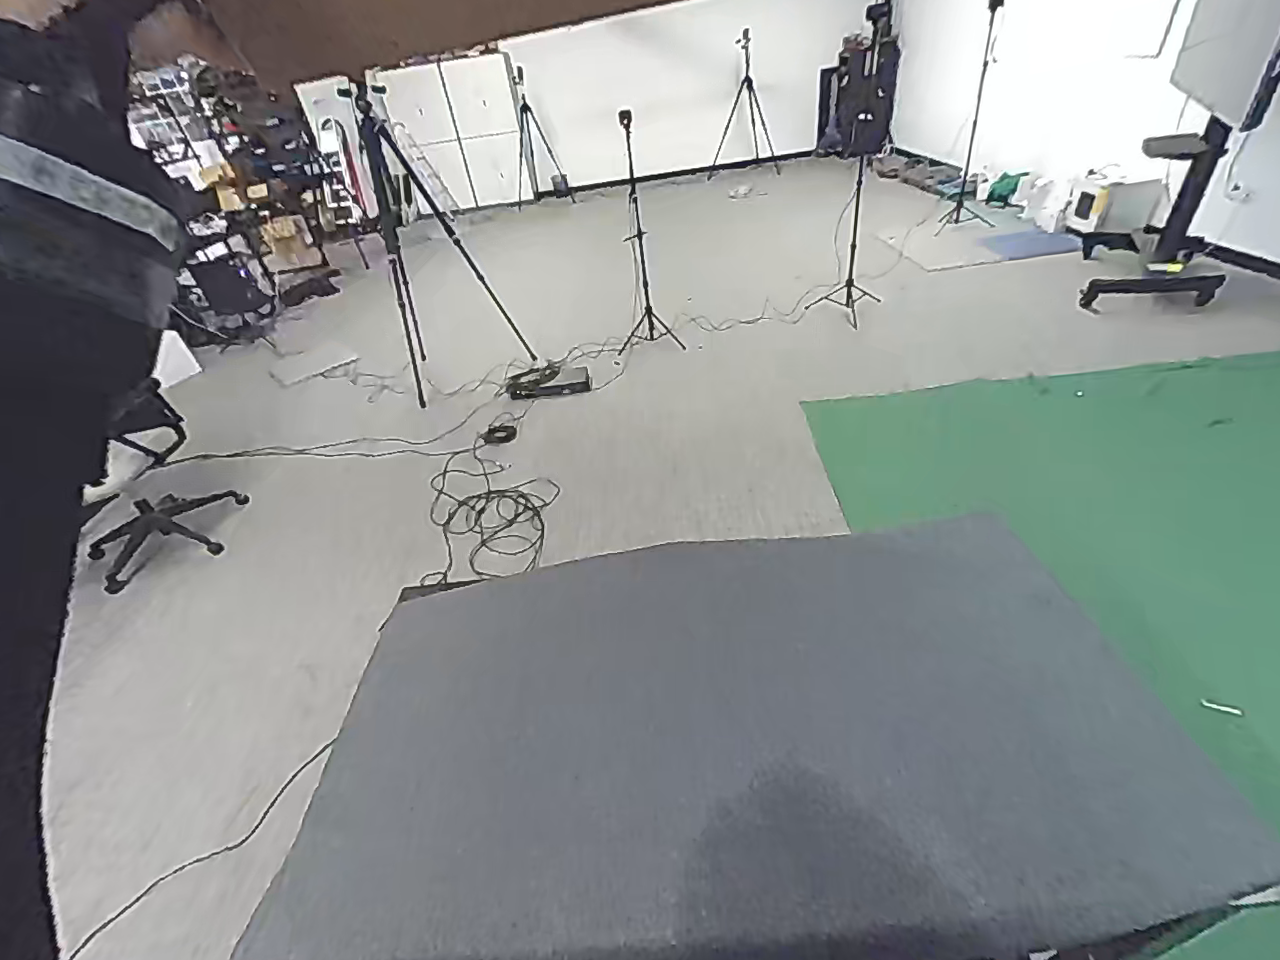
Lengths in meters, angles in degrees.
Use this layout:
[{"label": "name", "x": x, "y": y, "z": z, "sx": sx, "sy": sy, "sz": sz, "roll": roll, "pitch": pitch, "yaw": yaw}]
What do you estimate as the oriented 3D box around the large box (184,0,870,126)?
[{"label": "large box", "x": 0.005, "y": -0.373, "z": 0.152, "sx": 0.408, "sy": 0.320, "sz": 0.320, "roll": -10, "pitch": 63, "yaw": 3}]
